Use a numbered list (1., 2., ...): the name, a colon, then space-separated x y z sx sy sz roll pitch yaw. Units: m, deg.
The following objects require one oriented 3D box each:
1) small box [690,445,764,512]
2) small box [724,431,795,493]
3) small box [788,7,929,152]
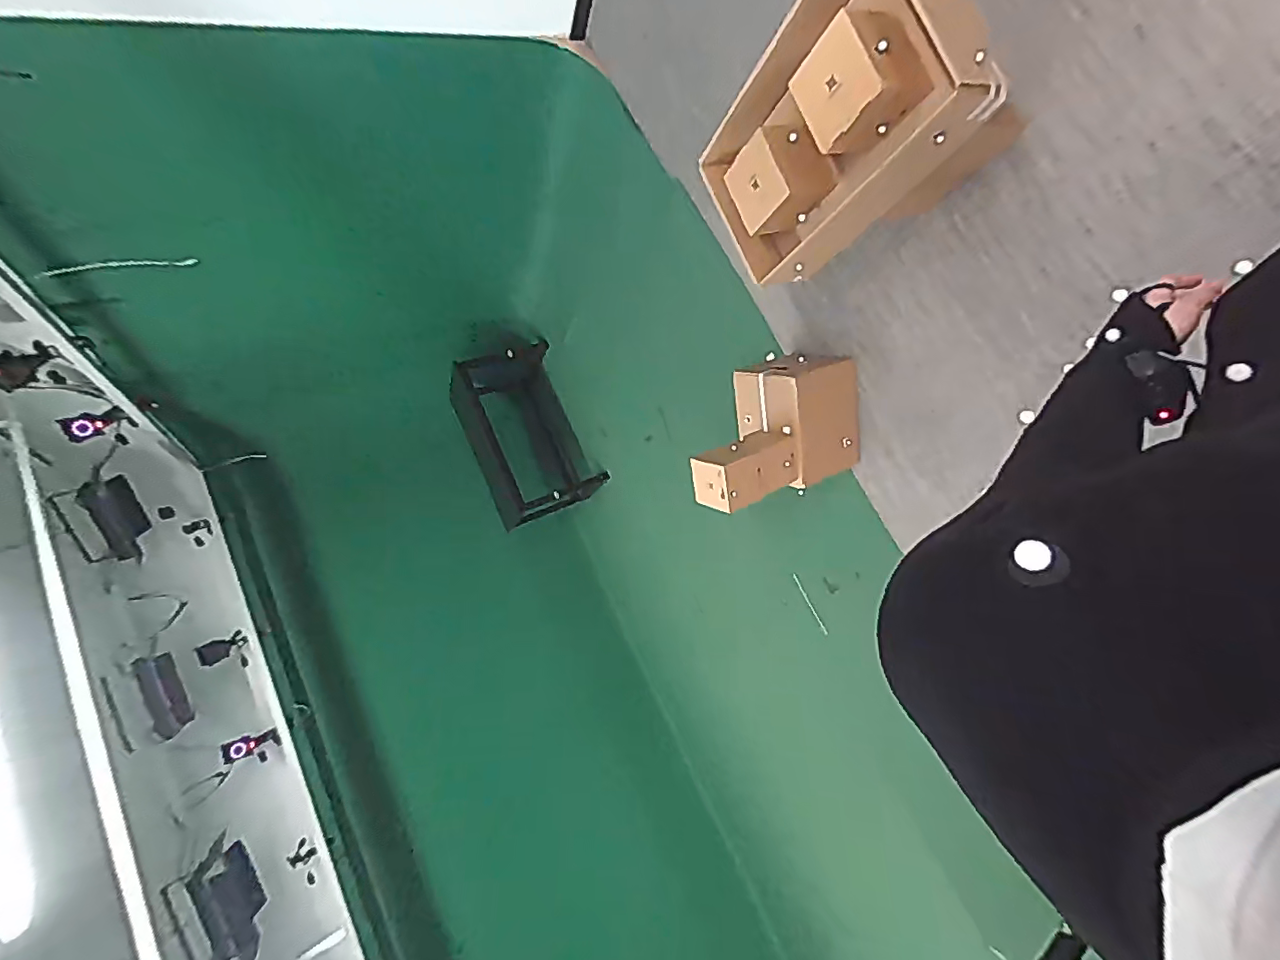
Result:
1. small box: 0.295 -0.012 1.825 0.179 0.176 0.168 20 126 55
2. small box: 0.424 -0.068 1.910 0.179 0.176 0.168 19 126 54
3. small box: 0.445 -0.810 1.108 0.179 0.176 0.168 65 153 3
